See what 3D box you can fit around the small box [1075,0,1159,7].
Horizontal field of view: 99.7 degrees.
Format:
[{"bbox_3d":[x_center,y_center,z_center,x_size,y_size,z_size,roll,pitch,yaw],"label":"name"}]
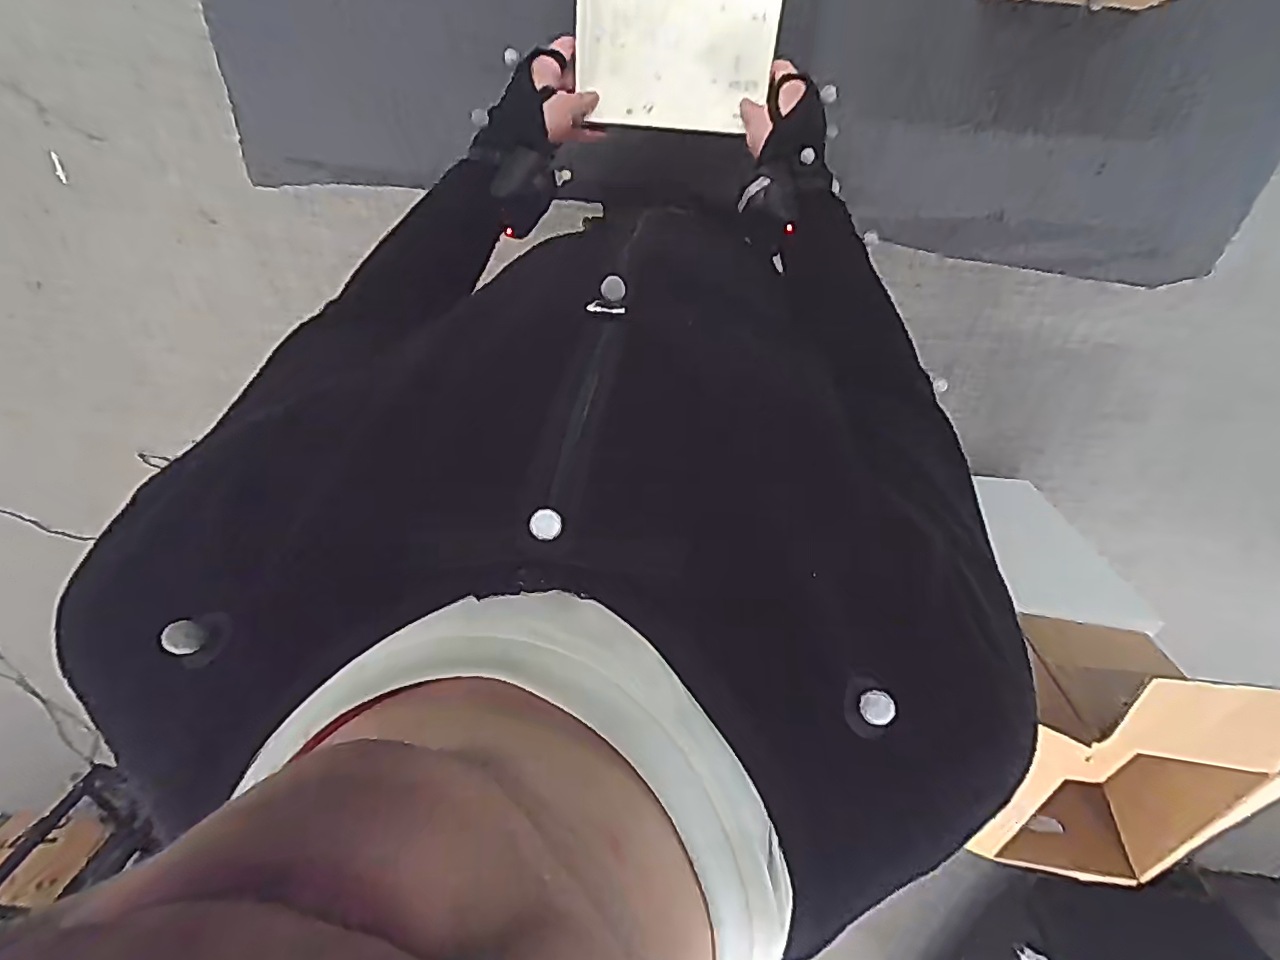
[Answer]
[{"bbox_3d":[0.420,-0.511,0.436,0.168,0.176,0.179,6,124,2],"label":"small box"}]
